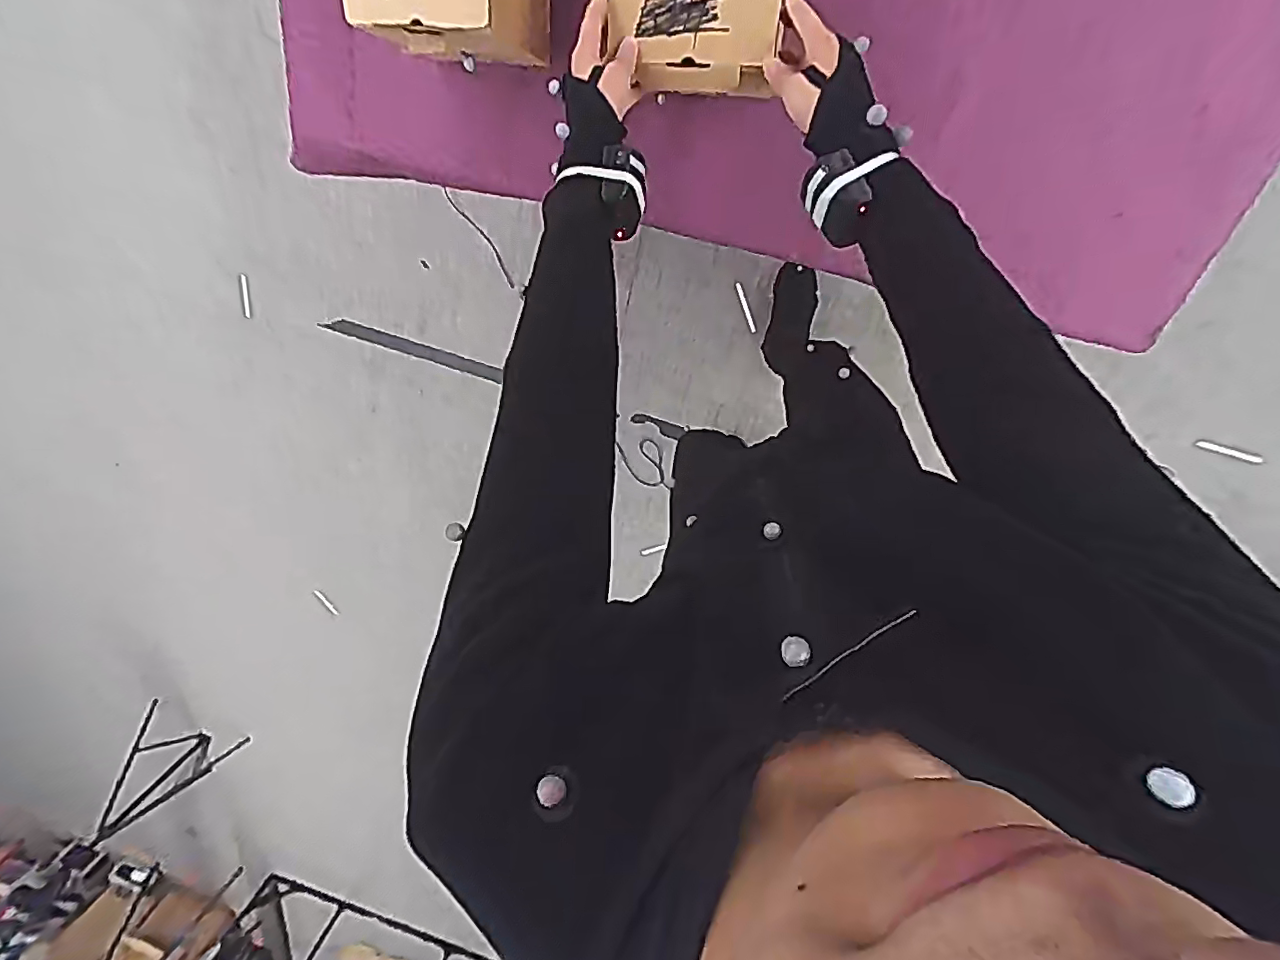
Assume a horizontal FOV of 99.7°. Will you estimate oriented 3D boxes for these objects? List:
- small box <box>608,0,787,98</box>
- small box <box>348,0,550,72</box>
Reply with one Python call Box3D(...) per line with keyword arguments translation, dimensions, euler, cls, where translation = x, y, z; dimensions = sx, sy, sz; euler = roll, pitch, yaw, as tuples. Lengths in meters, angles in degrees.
Box3D(translation=(0.069, -0.515, 0.562), dimensions=(0.168, 0.176, 0.179), euler=(8, 118, 10), cls="small box")
Box3D(translation=(-0.204, -0.580, 0.597), dimensions=(0.168, 0.176, 0.179), euler=(10, 119, 9), cls="small box")
